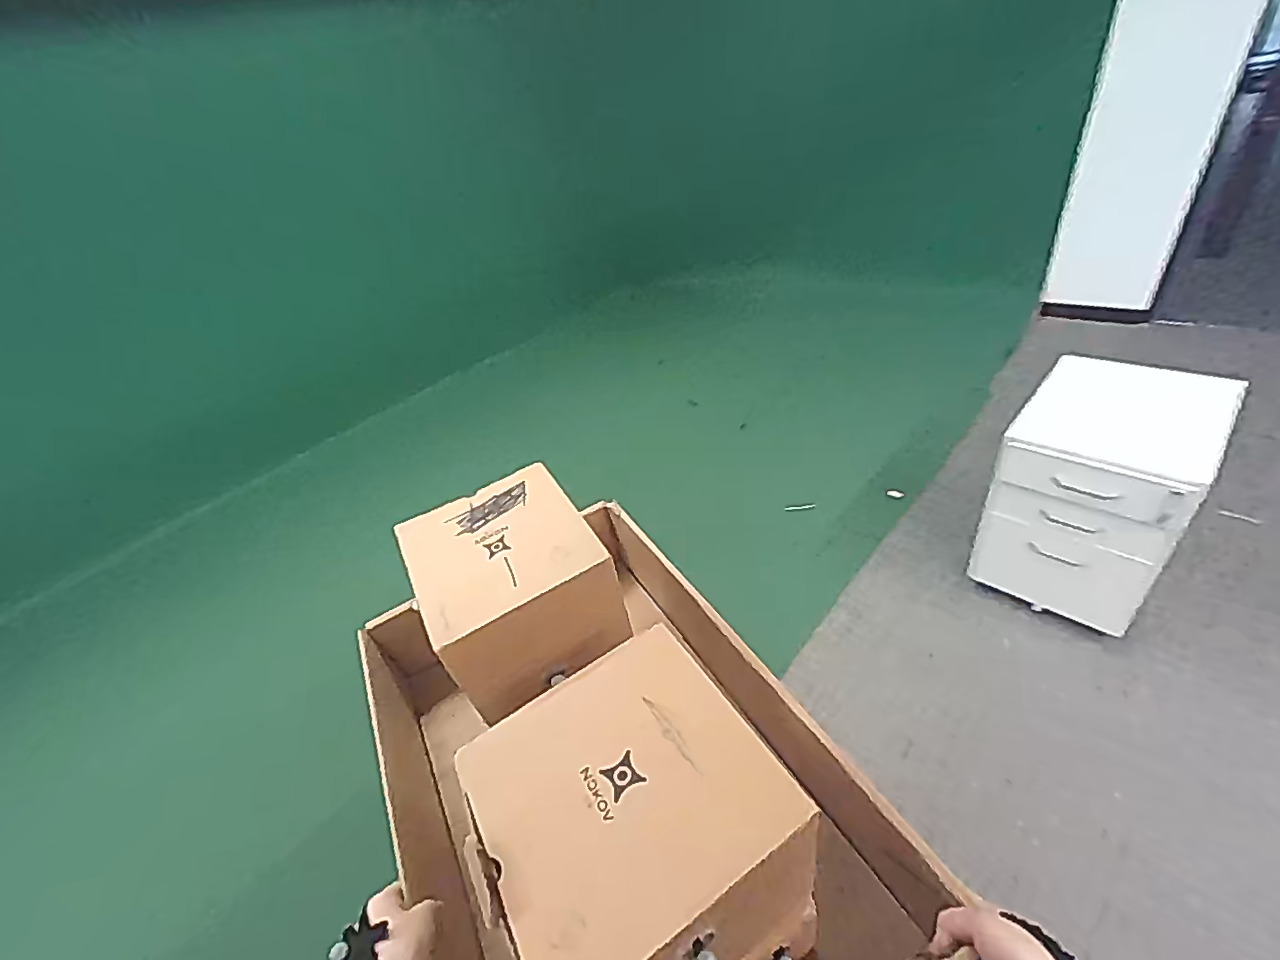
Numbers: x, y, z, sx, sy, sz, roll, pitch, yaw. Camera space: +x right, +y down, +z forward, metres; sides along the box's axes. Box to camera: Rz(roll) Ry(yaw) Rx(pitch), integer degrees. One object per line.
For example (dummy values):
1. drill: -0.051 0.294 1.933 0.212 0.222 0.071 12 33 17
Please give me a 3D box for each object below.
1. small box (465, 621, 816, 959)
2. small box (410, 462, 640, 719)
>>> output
1. small box: 0.005 0.246 0.390 0.179 0.176 0.168 -27 42 -18
2. small box: -0.116 0.117 0.570 0.168 0.176 0.179 -26 44 -16
